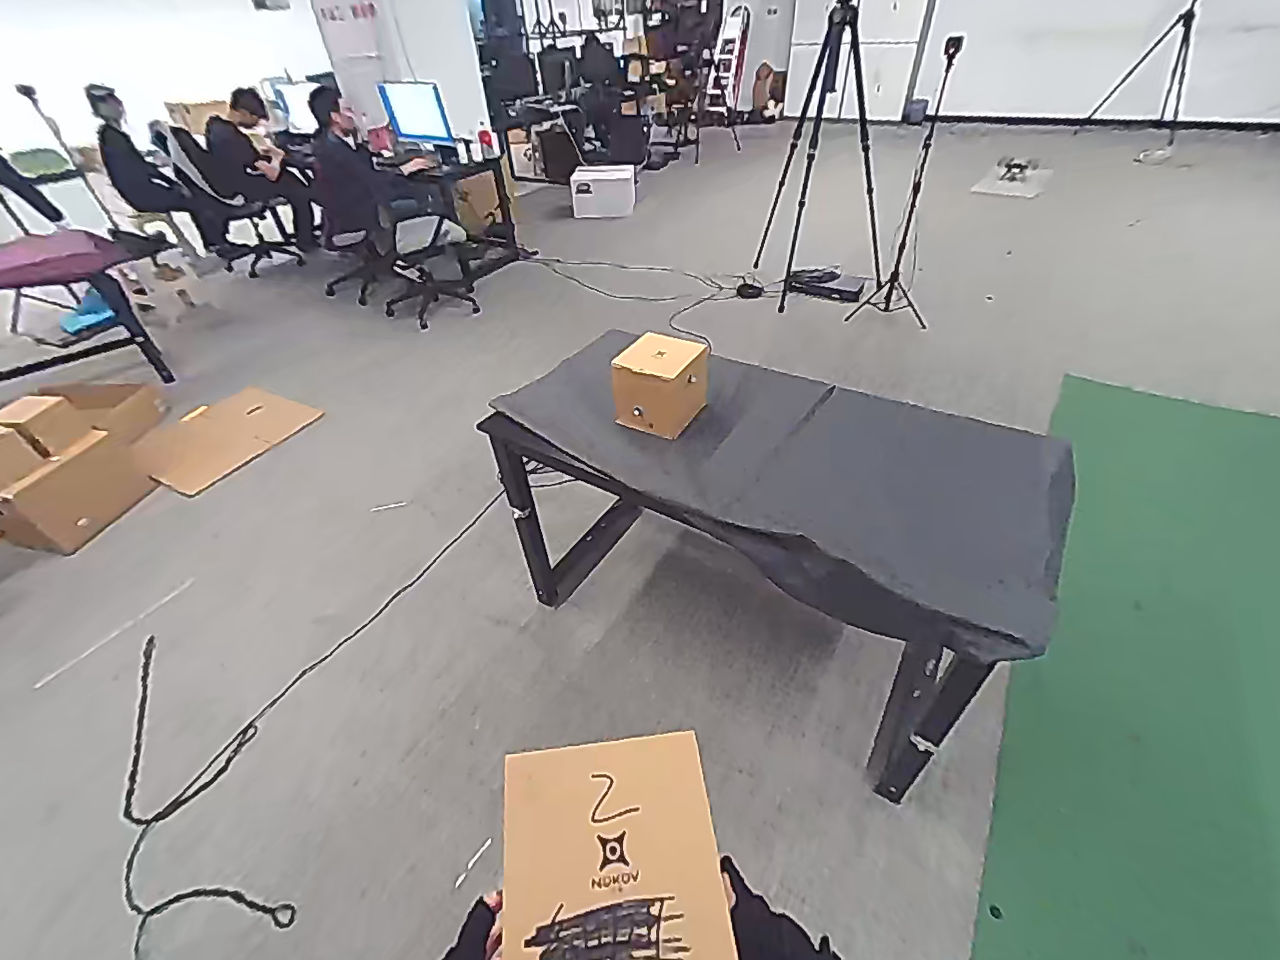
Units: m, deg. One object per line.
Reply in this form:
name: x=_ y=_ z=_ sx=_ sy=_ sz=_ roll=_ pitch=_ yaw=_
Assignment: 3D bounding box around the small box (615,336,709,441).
small box: x=0.054 y=-0.223 z=1.315 sx=0.168 sy=0.176 sz=0.179 roll=20 pitch=47 yaw=24
